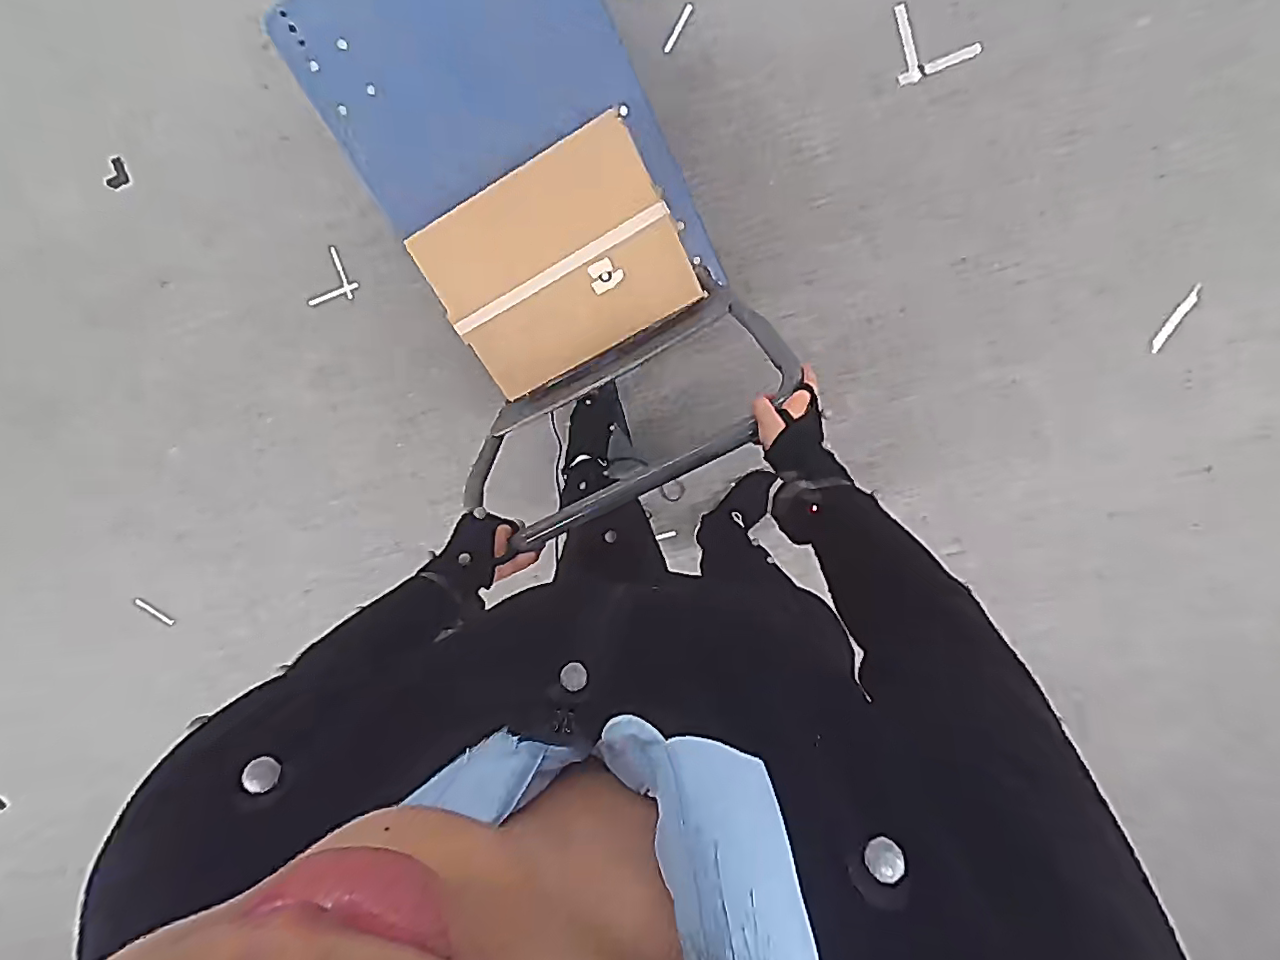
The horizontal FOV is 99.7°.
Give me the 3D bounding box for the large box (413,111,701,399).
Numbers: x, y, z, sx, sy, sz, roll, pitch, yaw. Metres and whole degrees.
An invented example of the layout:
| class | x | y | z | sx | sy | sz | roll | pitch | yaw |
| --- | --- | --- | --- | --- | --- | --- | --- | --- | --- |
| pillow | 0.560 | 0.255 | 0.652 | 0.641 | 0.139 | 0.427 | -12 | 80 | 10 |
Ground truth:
| class | x | y | z | sx | sy | sz | roll | pitch | yaw |
| --- | --- | --- | --- | --- | --- | --- | --- | --- | --- |
| large box | -0.144 | -0.419 | 1.054 | 0.408 | 0.320 | 0.320 | -27 | 115 | 9 |
